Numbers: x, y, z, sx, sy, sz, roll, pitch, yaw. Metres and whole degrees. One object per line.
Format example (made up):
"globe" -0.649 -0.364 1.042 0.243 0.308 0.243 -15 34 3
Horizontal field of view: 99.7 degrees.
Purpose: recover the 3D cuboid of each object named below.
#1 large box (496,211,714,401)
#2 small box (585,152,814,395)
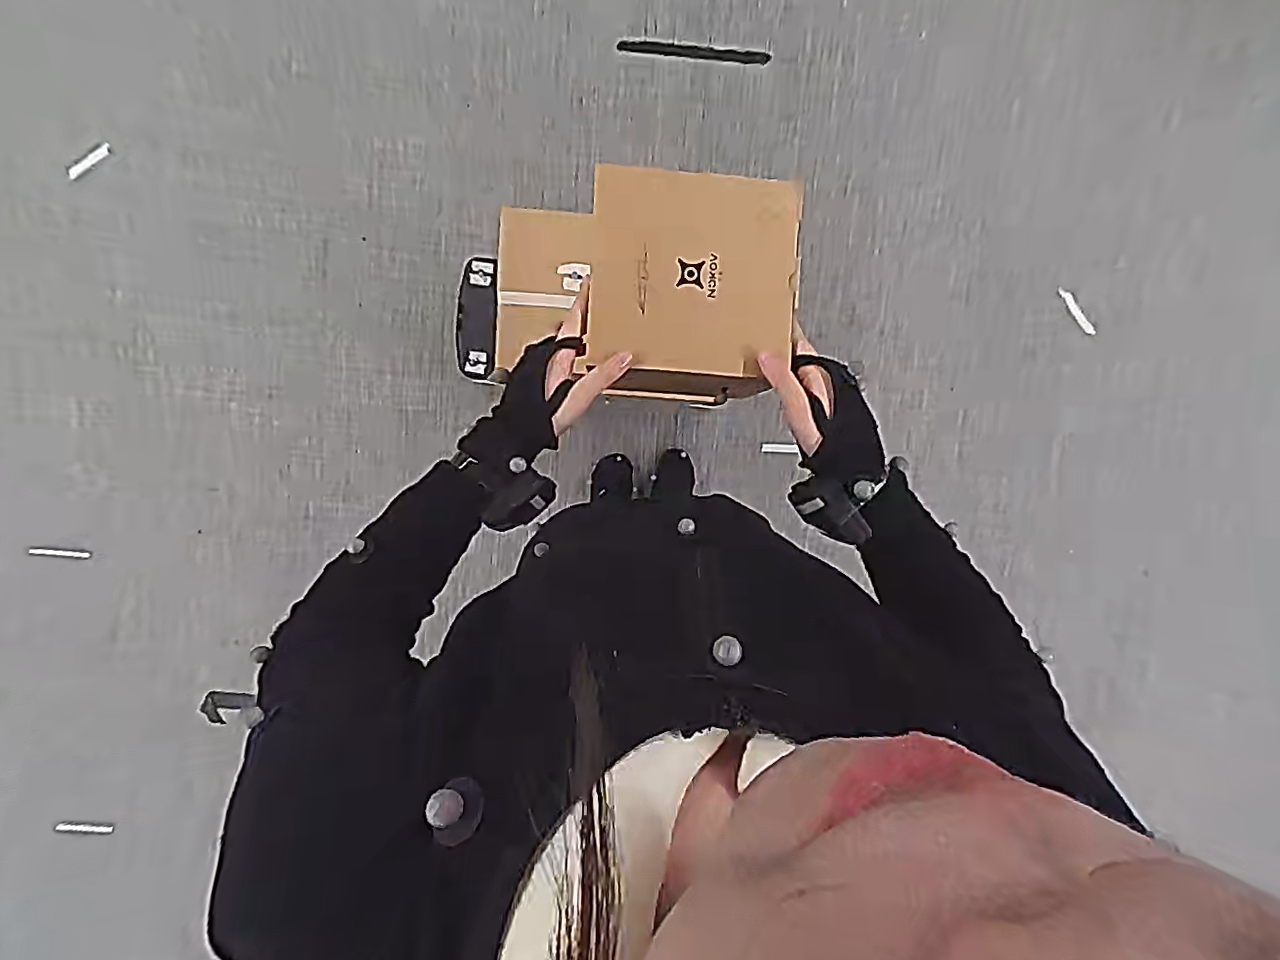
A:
"large box" -0.054 -0.326 1.110 0.408 0.320 0.320 4 96 -2
"small box" 0.044 -0.175 0.515 0.179 0.176 0.168 4 92 -3
